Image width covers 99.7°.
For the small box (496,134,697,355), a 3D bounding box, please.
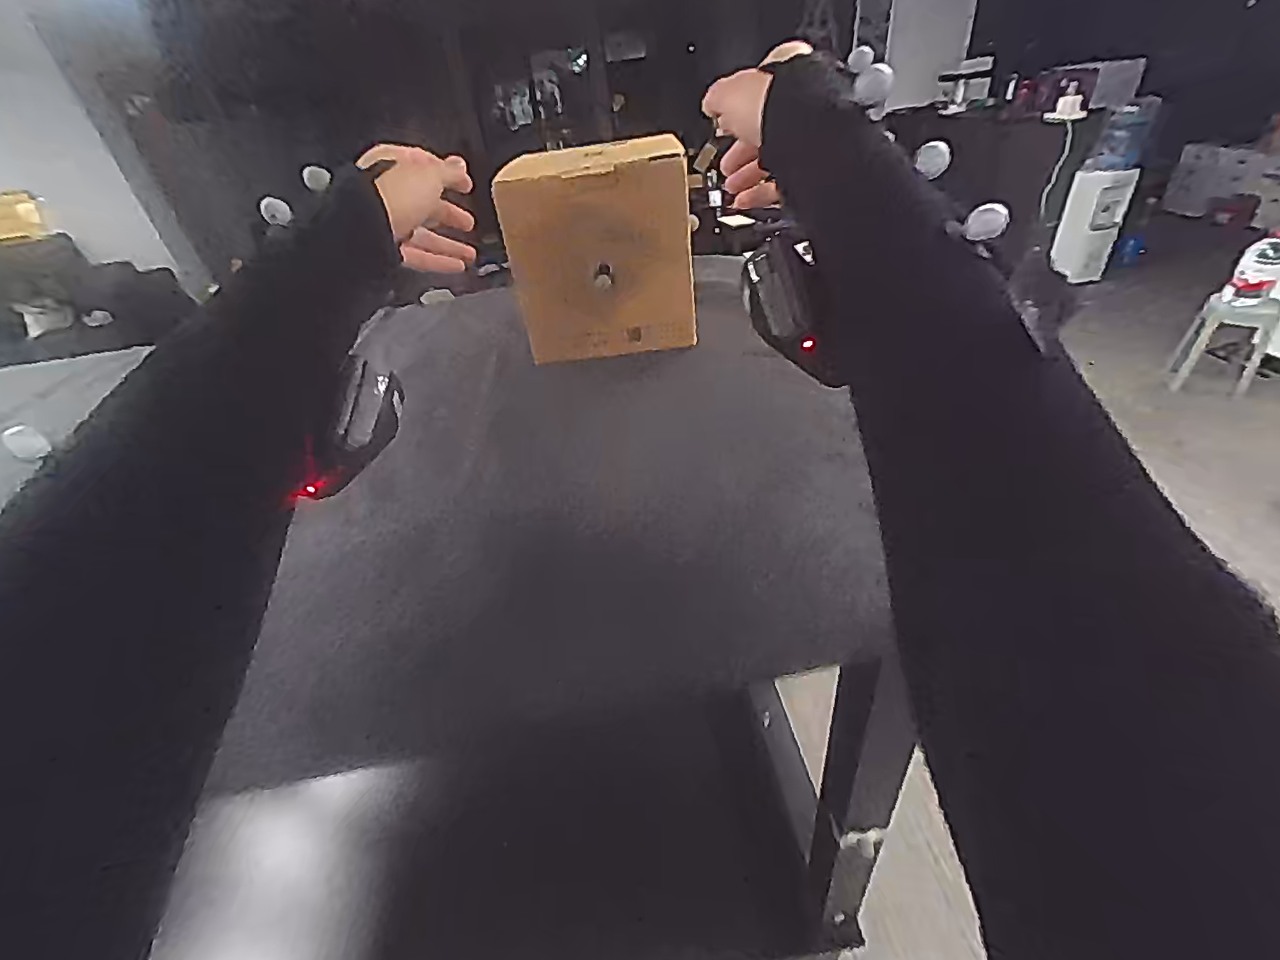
[{"bbox_3d":[-0.032,-0.240,0.563,0.168,0.176,0.179,-6,38,3],"label":"small box"}]
